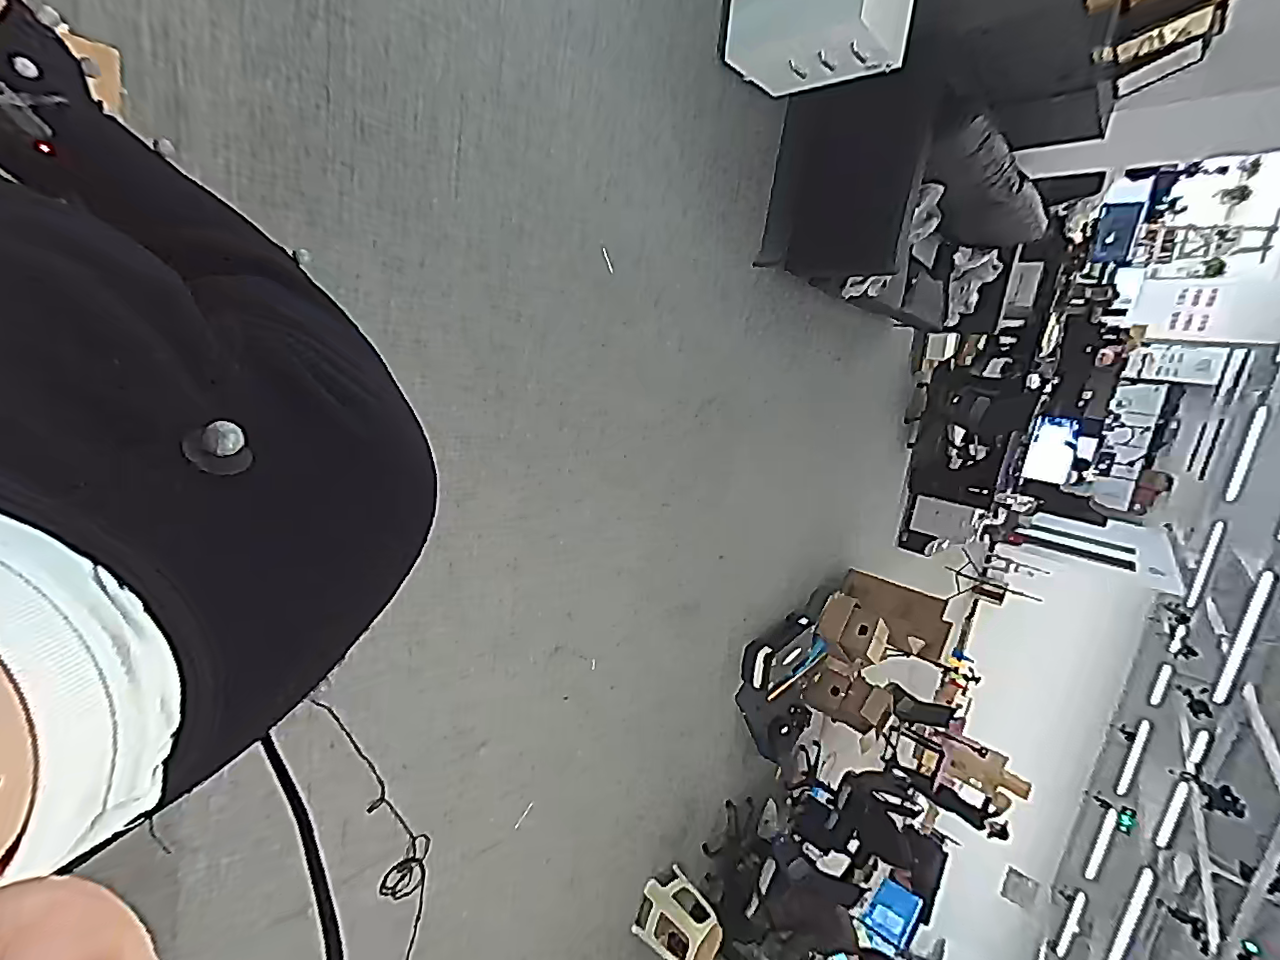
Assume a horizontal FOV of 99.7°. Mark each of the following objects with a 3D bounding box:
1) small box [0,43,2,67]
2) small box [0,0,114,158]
[{"bbox_3d":[-0.649,-0.448,0.424,0.179,0.176,0.168,-10,113,-43],"label":"small box"},{"bbox_3d":[-1.022,-0.685,0.924,0.168,0.176,0.179,0,104,-47],"label":"small box"}]
